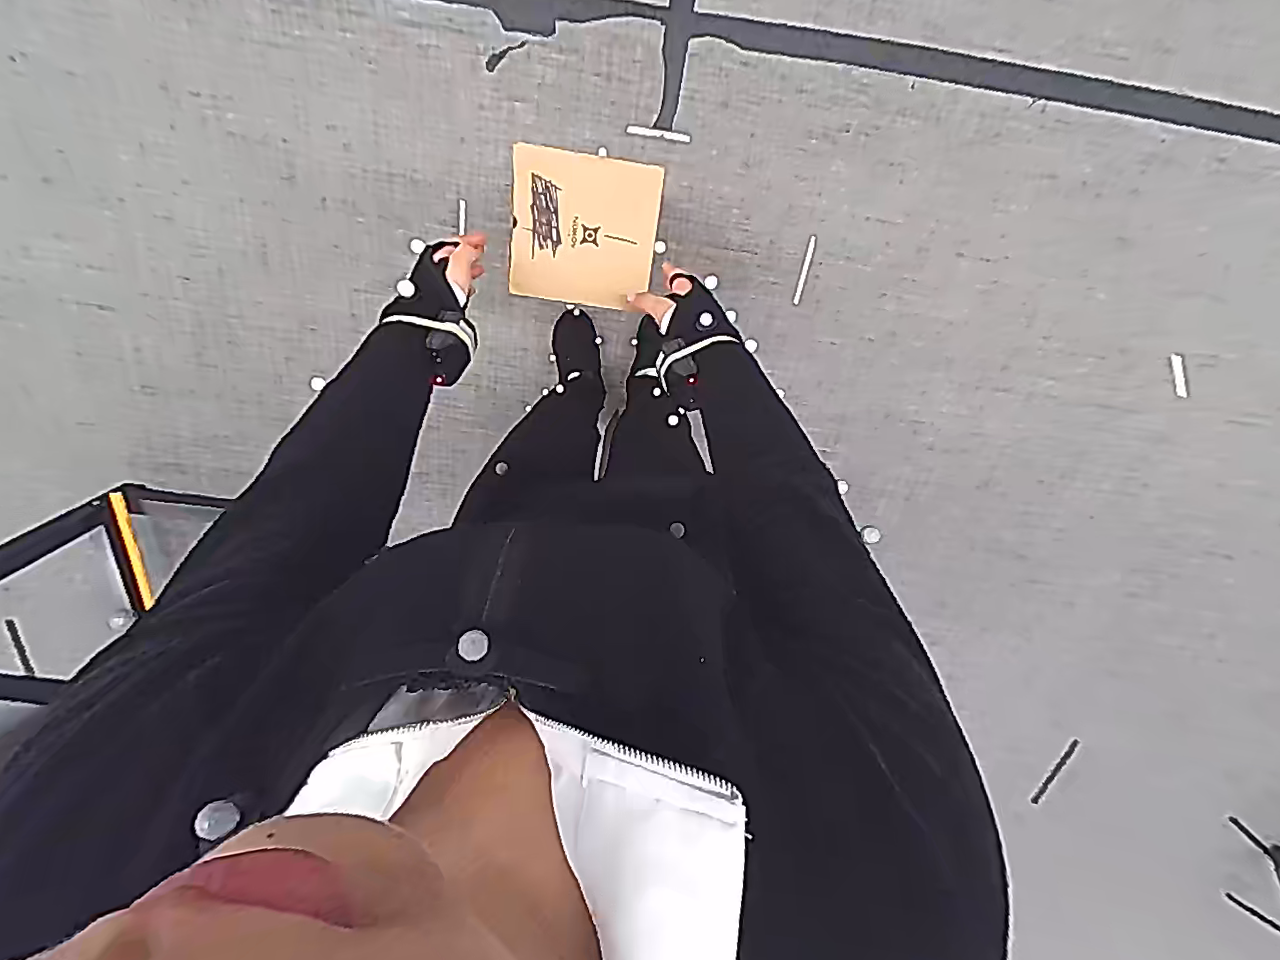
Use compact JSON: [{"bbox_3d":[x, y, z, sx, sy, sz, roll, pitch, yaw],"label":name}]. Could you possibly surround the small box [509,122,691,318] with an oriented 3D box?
[{"bbox_3d":[-0.046,-0.297,0.633,0.179,0.176,0.168,7,116,-4],"label":"small box"}]
